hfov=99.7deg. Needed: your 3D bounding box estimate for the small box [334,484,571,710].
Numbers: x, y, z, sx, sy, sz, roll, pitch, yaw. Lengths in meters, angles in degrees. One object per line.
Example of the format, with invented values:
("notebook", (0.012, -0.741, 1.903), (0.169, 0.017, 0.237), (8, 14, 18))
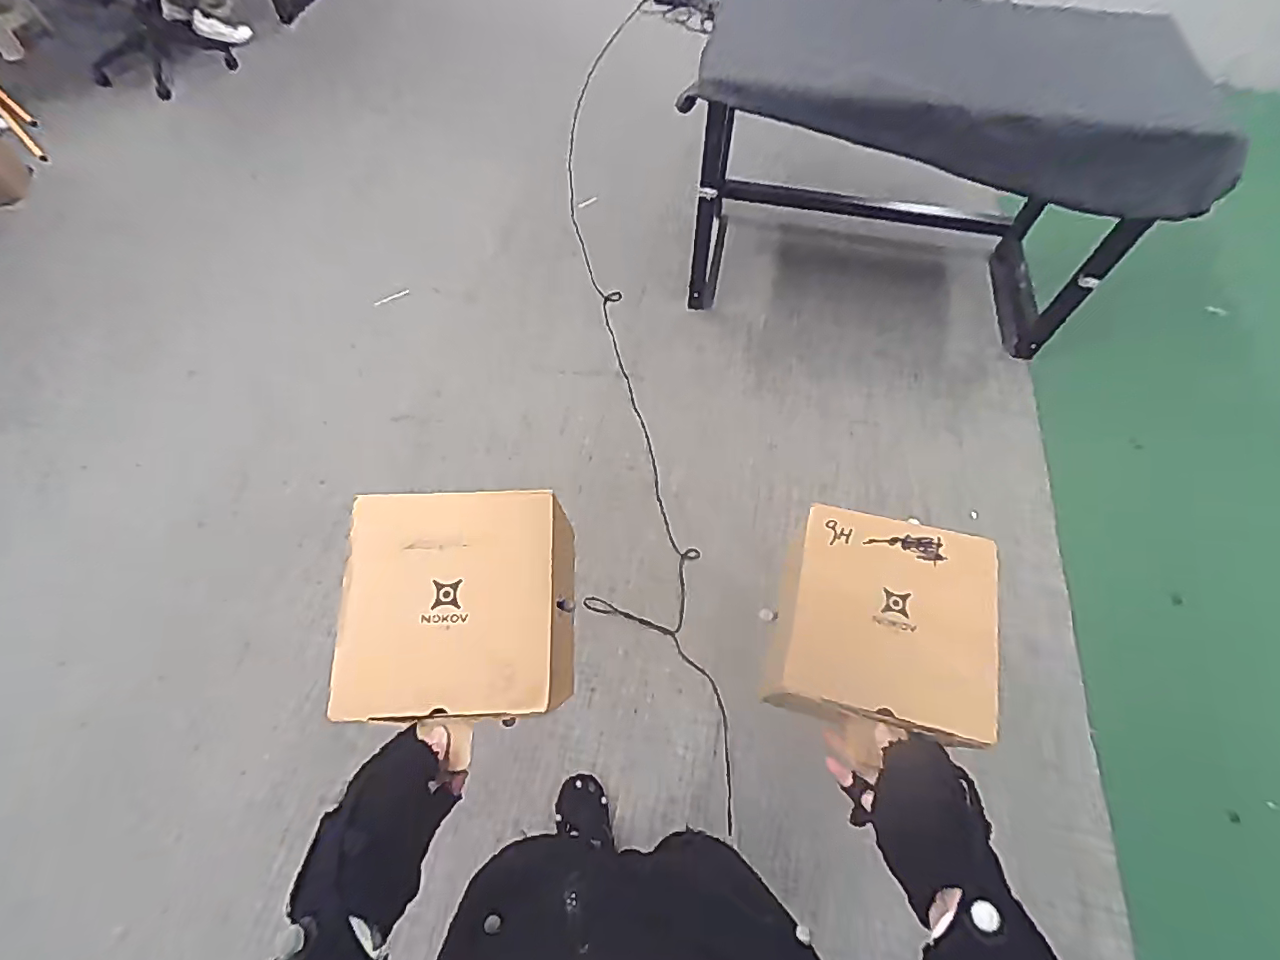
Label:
("small box", (-0.154, 0.110, 0.508), (0.168, 0.176, 0.179), (-1, 73, -2))
